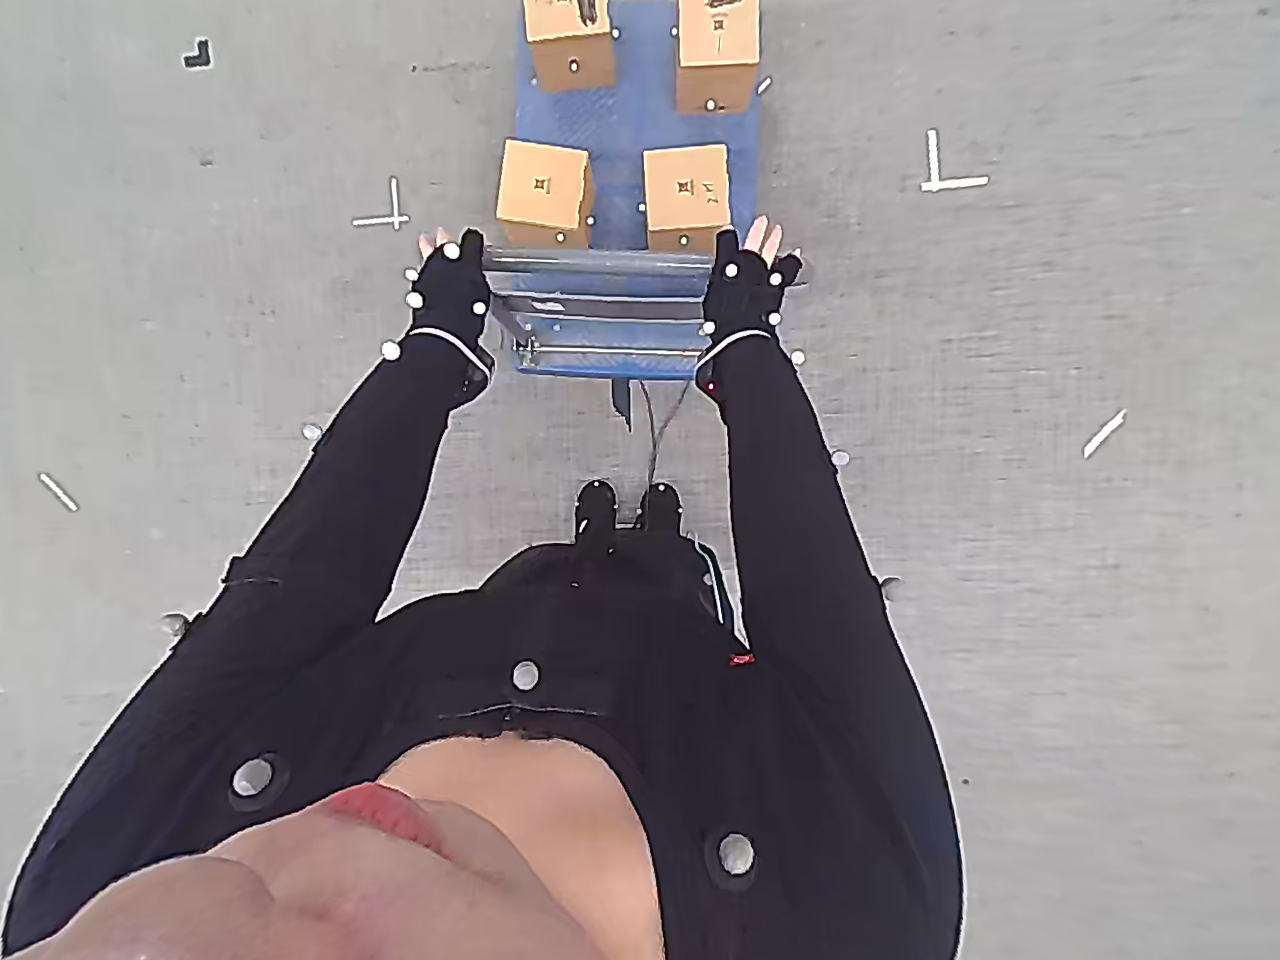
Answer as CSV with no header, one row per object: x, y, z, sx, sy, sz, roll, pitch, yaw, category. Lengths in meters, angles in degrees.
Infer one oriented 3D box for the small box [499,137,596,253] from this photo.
-0.201,-0.632,1.217,0.179,0.176,0.168,8,92,0,small box

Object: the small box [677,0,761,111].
0.168,-0.955,1.191,0.168,0.176,0.179,-1,94,2,small box

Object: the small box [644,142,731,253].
0.103,-0.622,1.211,0.179,0.176,0.168,-3,93,1,small box
